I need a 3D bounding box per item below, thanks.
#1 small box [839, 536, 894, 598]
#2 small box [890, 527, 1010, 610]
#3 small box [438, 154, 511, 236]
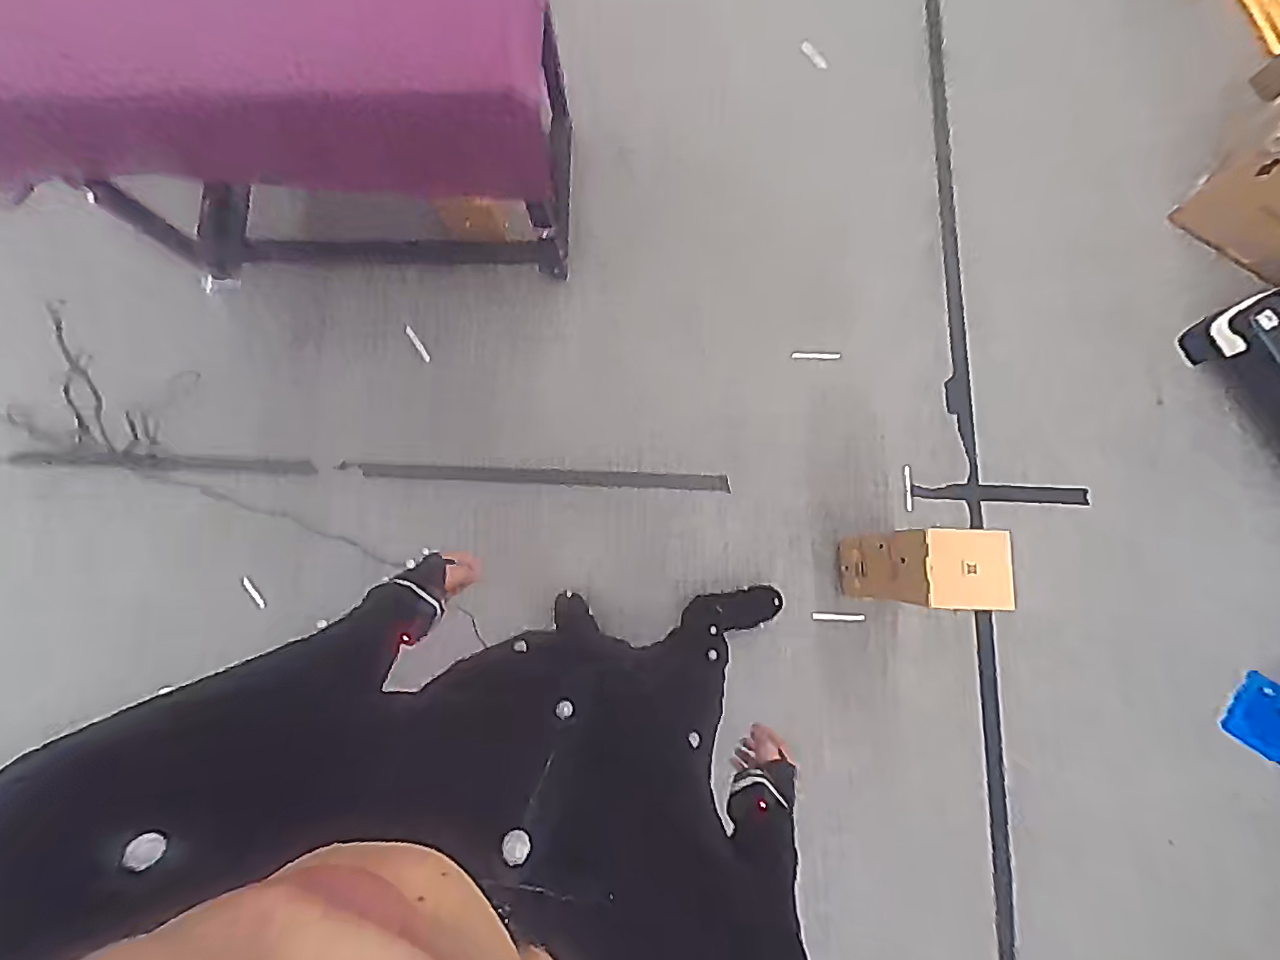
[{"bbox_3d":[0.681,0.241,1.526,0.179,0.176,0.168,-2,82,2],"label":"small box"},{"bbox_3d":[0.681,0.192,1.202,0.179,0.176,0.168,2,83,2],"label":"small box"},{"bbox_3d":[-0.517,-0.897,1.714,0.179,0.176,0.168,2,81,2],"label":"small box"}]
